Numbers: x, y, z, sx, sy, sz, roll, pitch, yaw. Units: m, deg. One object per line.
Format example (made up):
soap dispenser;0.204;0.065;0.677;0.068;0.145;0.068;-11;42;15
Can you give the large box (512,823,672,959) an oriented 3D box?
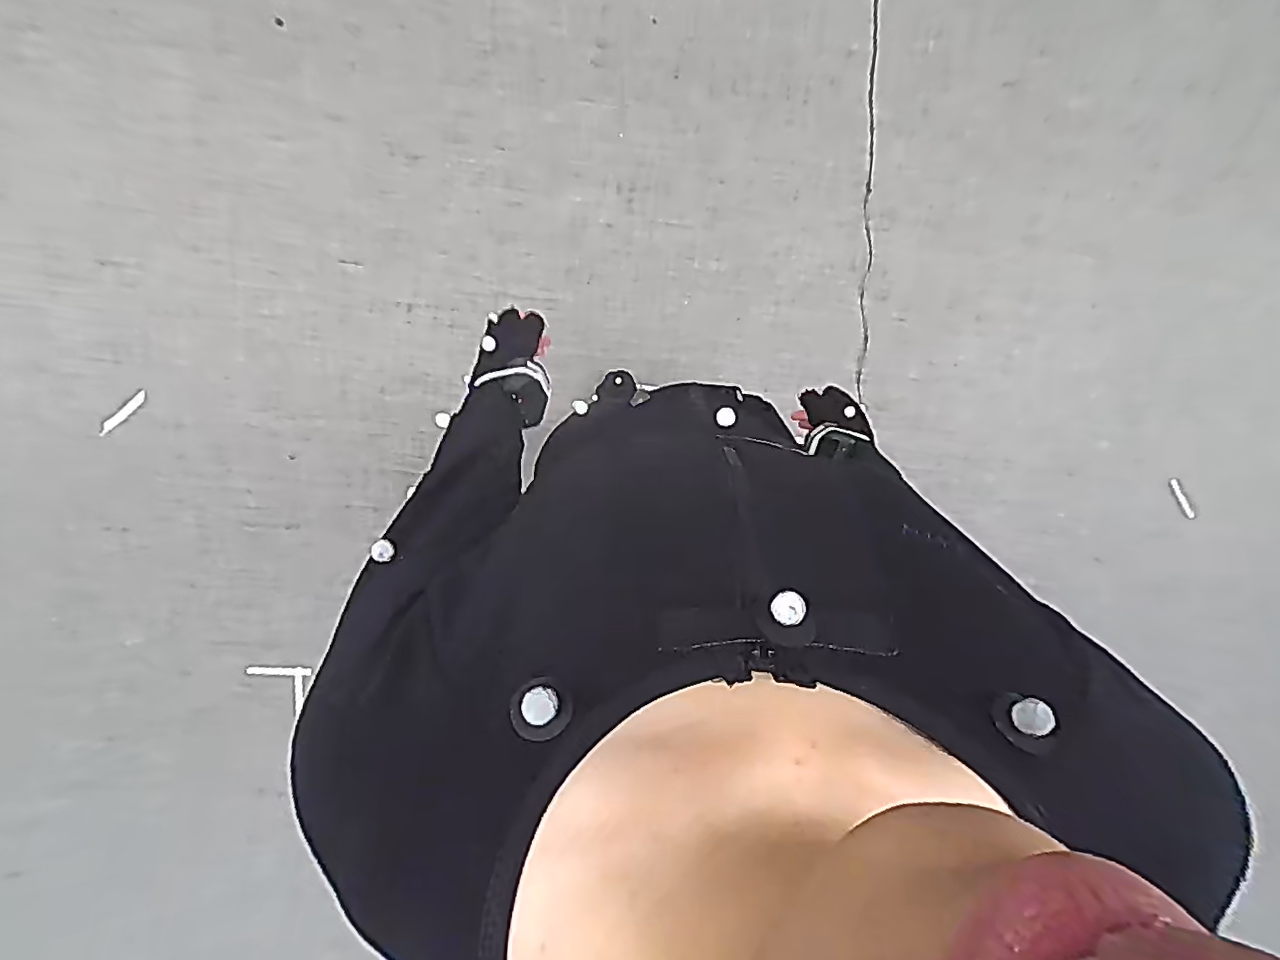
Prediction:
large box;-0.137;1.221;1.519;0.408;0.320;0.320;5;98;-4
